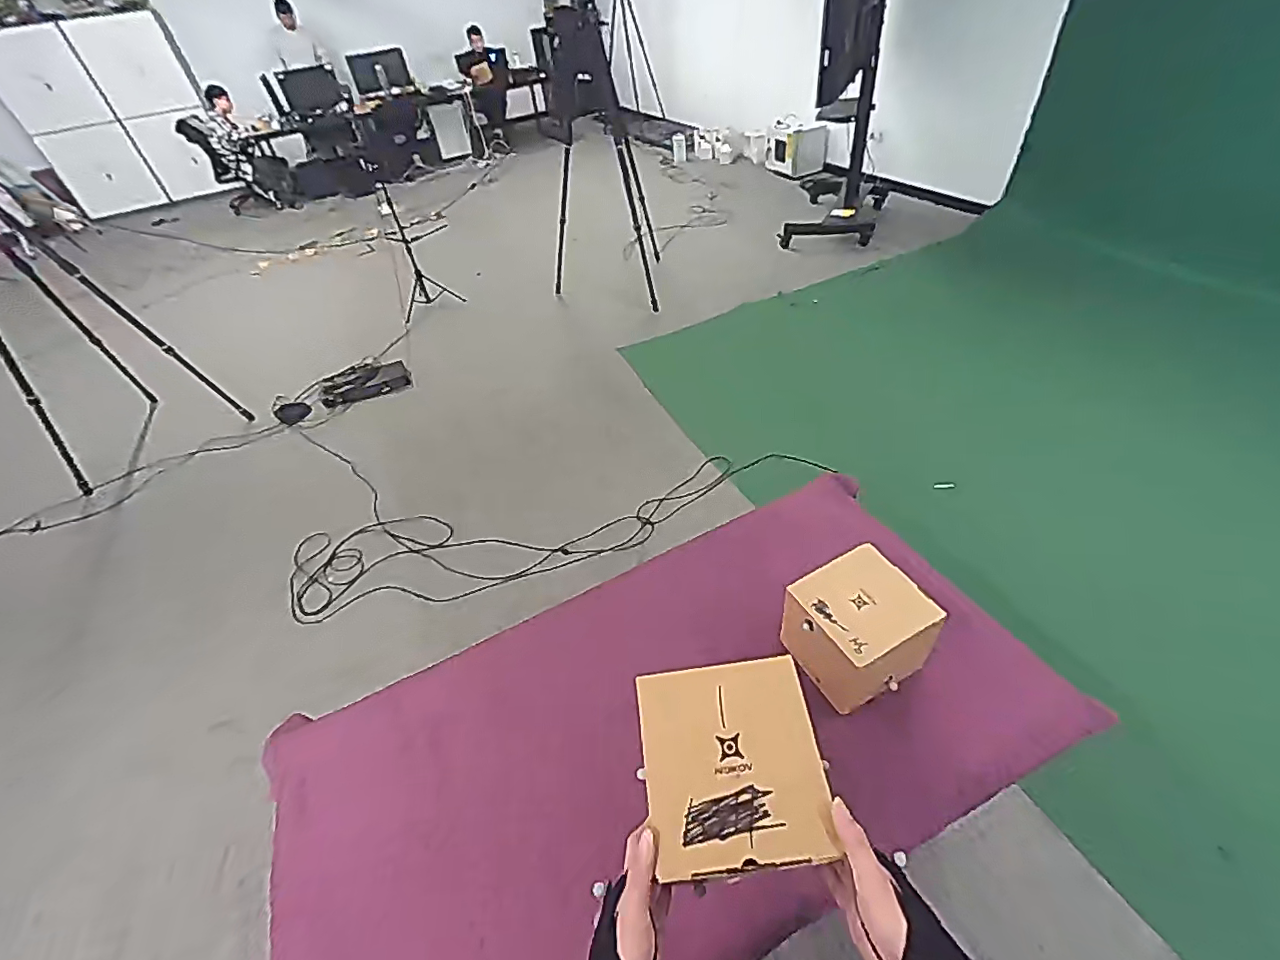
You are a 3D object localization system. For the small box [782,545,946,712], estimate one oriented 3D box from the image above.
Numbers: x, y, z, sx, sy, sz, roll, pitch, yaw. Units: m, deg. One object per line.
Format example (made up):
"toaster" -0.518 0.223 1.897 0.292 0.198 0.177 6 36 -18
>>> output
"small box" 0.356 0.246 0.896 0.179 0.176 0.168 -23 45 -15

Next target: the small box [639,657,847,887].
"small box" 0.095 0.307 0.563 0.168 0.176 0.179 -8 52 1
